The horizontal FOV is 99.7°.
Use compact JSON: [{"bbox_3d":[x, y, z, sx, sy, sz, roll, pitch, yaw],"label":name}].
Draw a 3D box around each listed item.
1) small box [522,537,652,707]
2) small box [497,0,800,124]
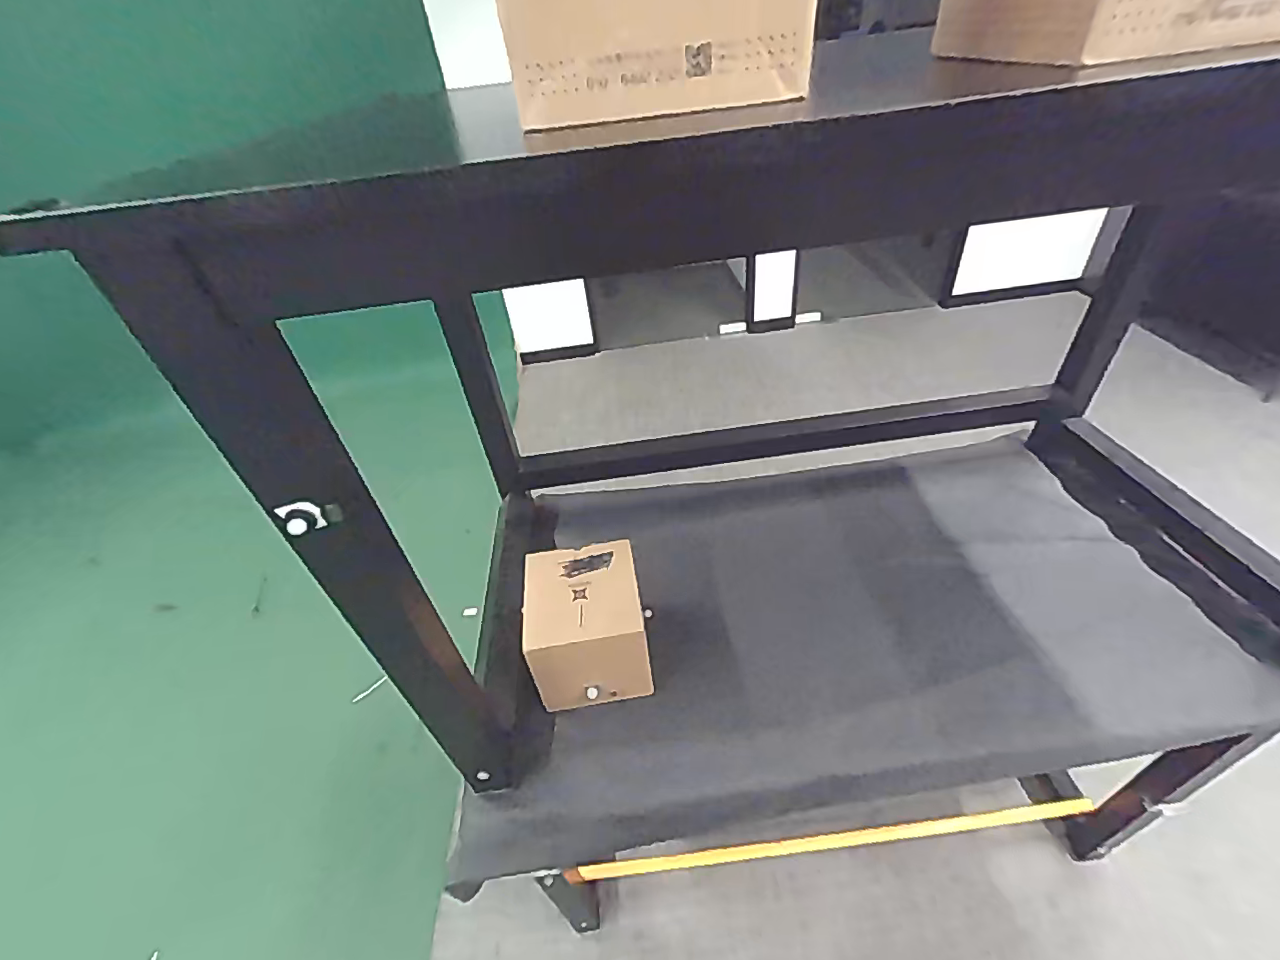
[{"bbox_3d":[-0.077,0.216,0.829,0.168,0.176,0.179,-9,40,-2],"label":"small box"},{"bbox_3d":[0.001,-0.328,0.327,0.168,0.176,0.179,-5,39,3],"label":"small box"}]
